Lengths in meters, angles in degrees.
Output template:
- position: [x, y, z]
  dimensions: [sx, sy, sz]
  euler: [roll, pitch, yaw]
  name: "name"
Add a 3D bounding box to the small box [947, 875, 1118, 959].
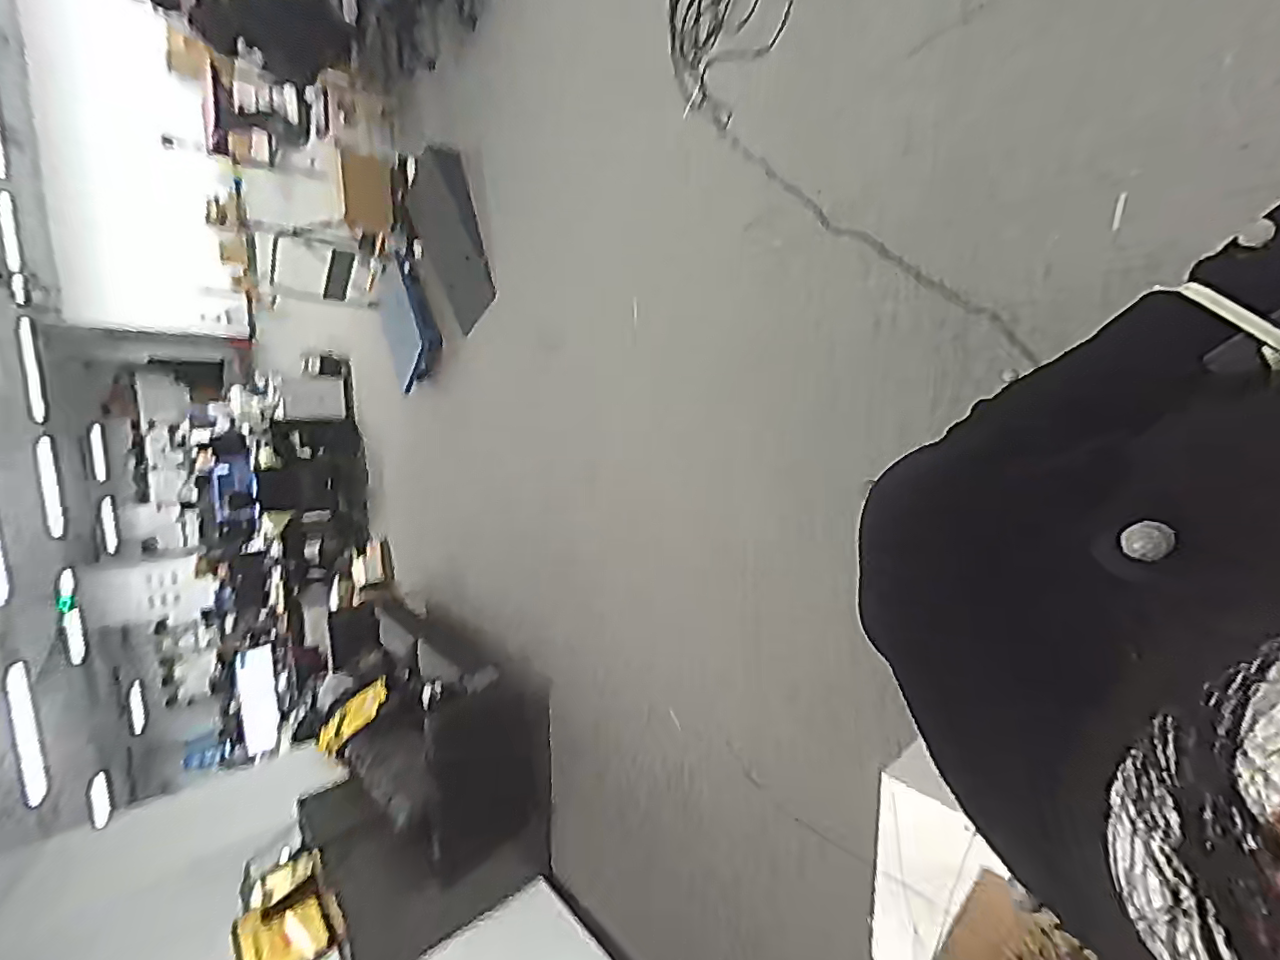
- position: [0.551, 0.727, 0.765]
  dimensions: [0.168, 0.176, 0.179]
  euler: [9, 103, 48]
  name: "small box"
